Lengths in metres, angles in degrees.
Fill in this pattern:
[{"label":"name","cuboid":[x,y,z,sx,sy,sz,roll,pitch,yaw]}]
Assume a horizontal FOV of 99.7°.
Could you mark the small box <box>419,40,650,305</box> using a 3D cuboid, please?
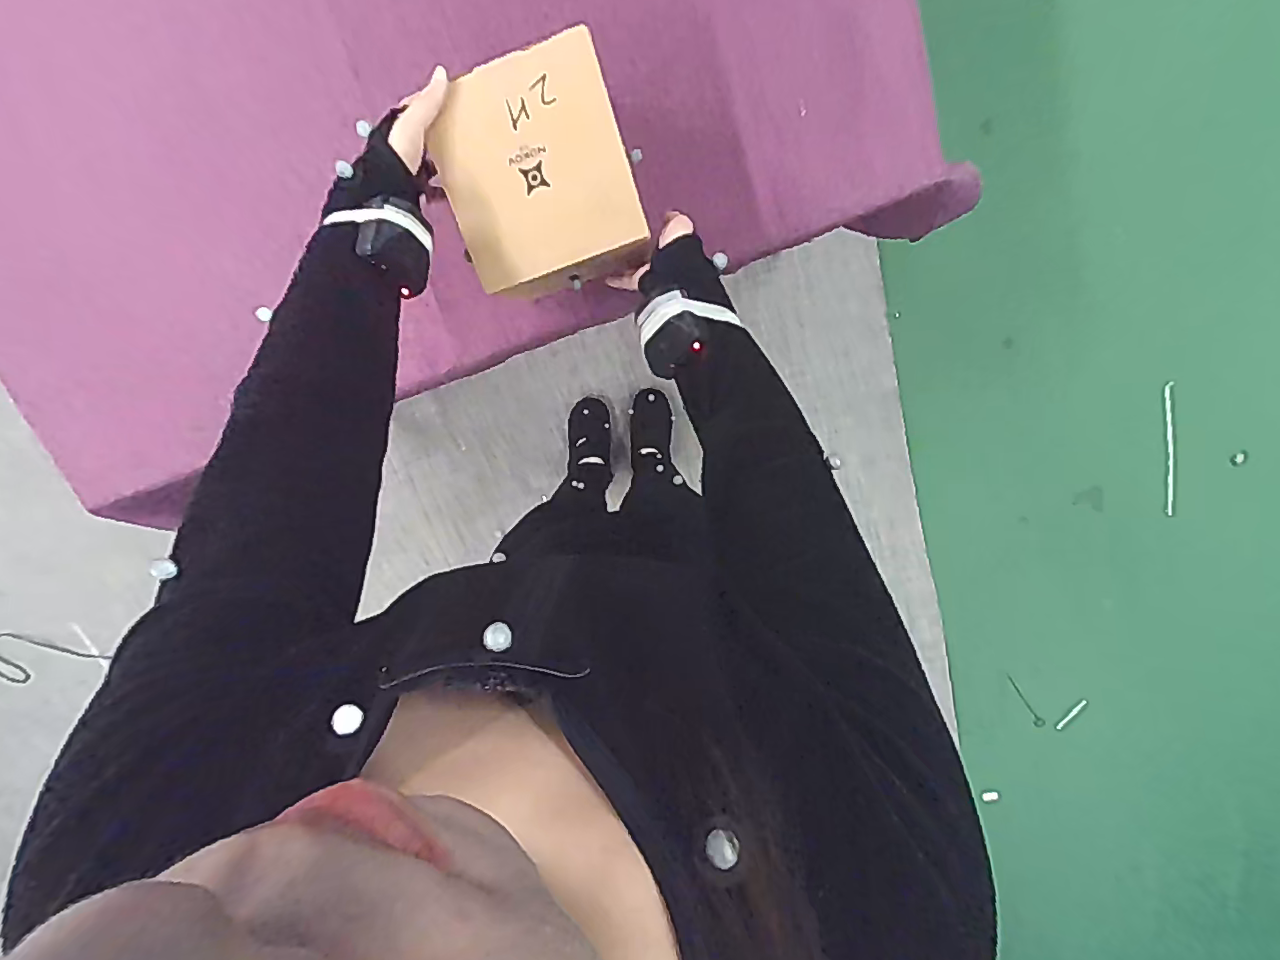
[{"label":"small box","cuboid":[-0.089,-0.293,0.562,0.168,0.176,0.179,-17,105,6]}]
